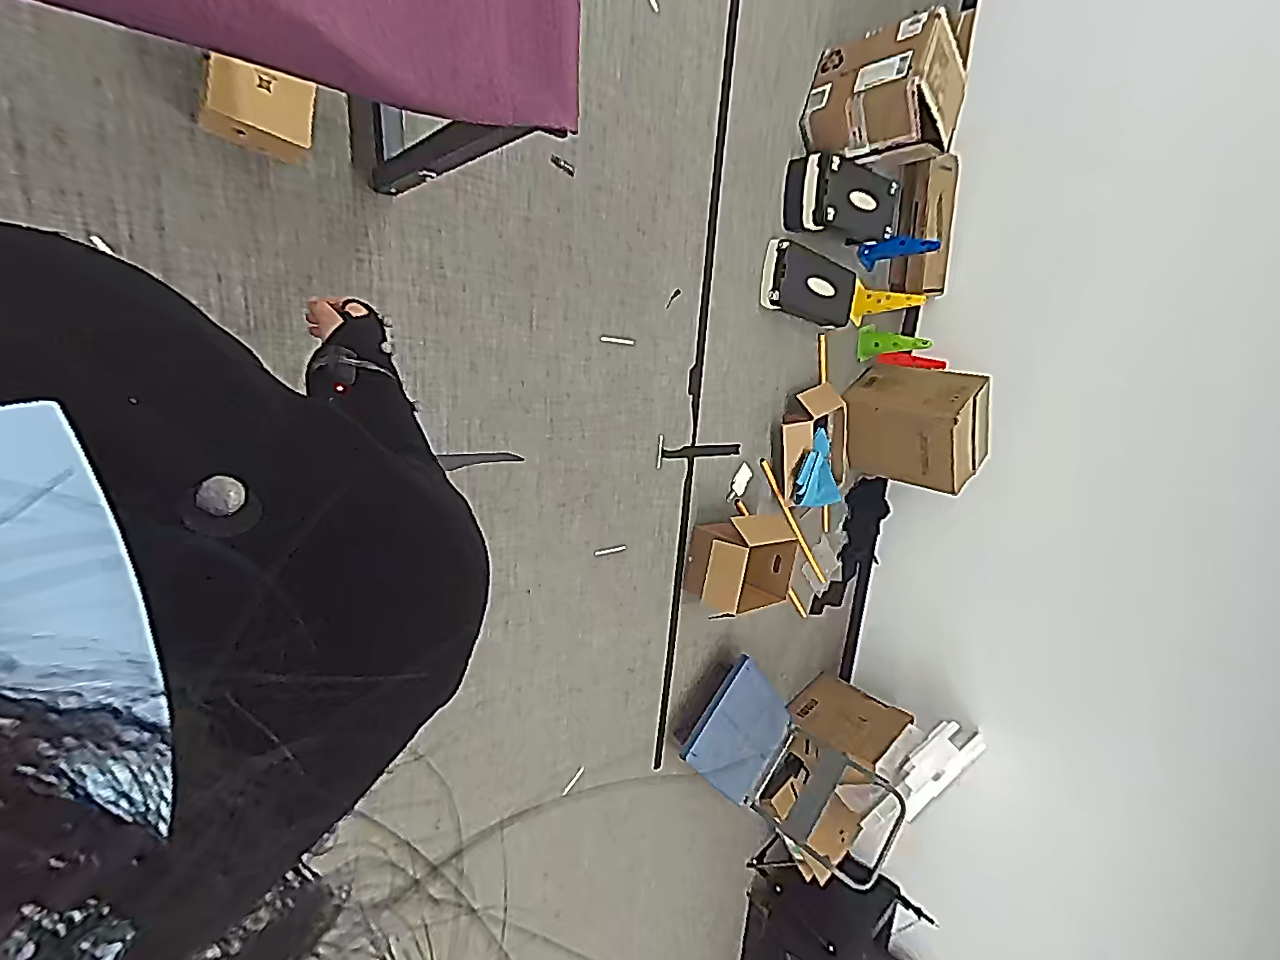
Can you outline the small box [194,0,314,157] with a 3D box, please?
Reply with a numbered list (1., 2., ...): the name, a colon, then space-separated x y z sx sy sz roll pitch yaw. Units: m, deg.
1. small box: -0.767 -0.775 1.071 0.168 0.176 0.179 4 99 -44
